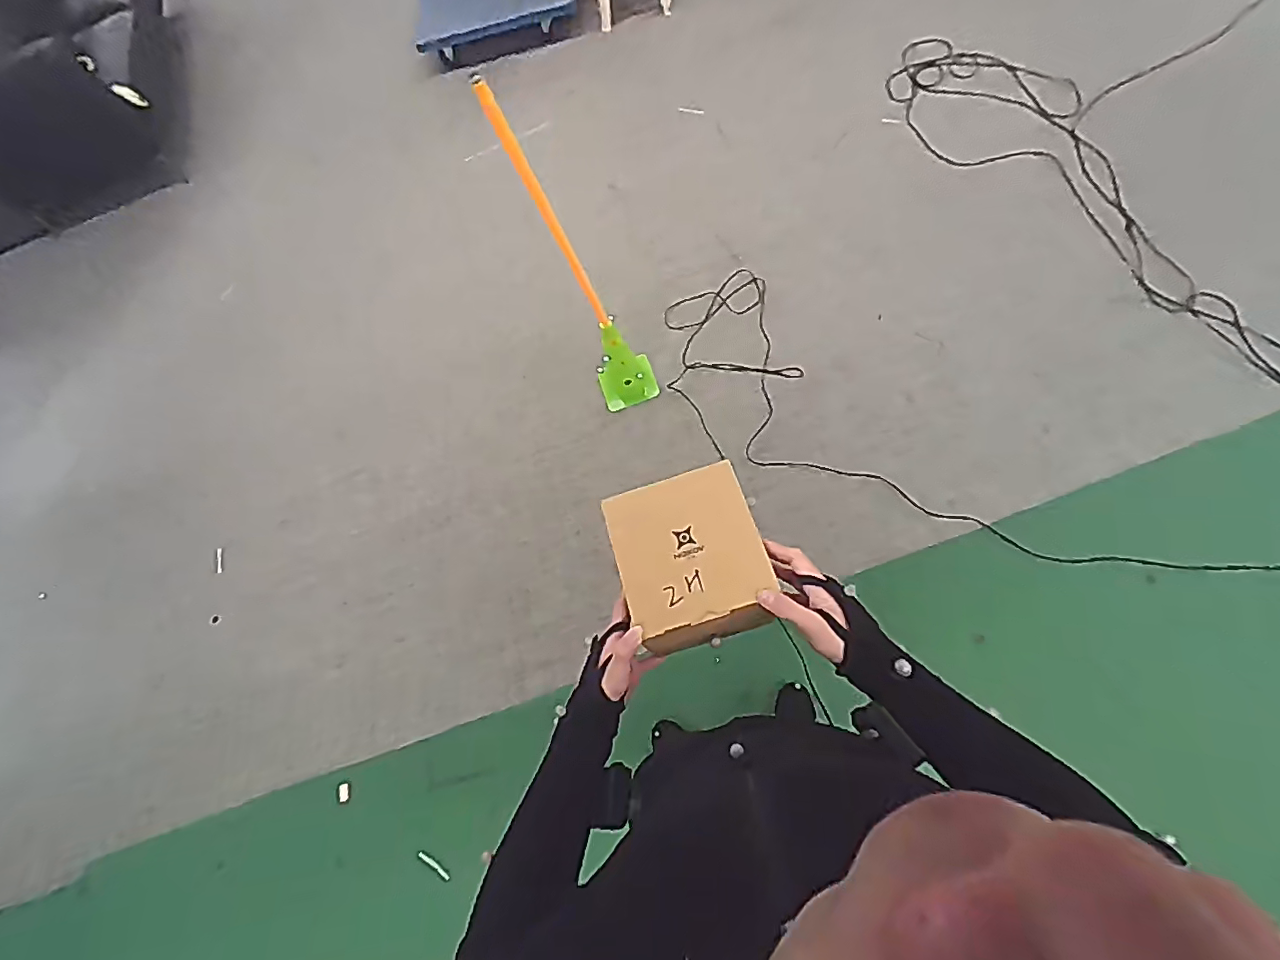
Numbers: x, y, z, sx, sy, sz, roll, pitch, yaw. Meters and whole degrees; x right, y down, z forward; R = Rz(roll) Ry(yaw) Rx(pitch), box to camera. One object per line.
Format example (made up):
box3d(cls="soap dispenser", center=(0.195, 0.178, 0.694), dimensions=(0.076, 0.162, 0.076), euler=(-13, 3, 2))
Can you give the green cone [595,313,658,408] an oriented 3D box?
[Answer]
box3d(cls="green cone", center=(-0.079, -0.431, 1.834), dimensions=(0.202, 0.368, 0.200), euler=(-20, 67, 1))
